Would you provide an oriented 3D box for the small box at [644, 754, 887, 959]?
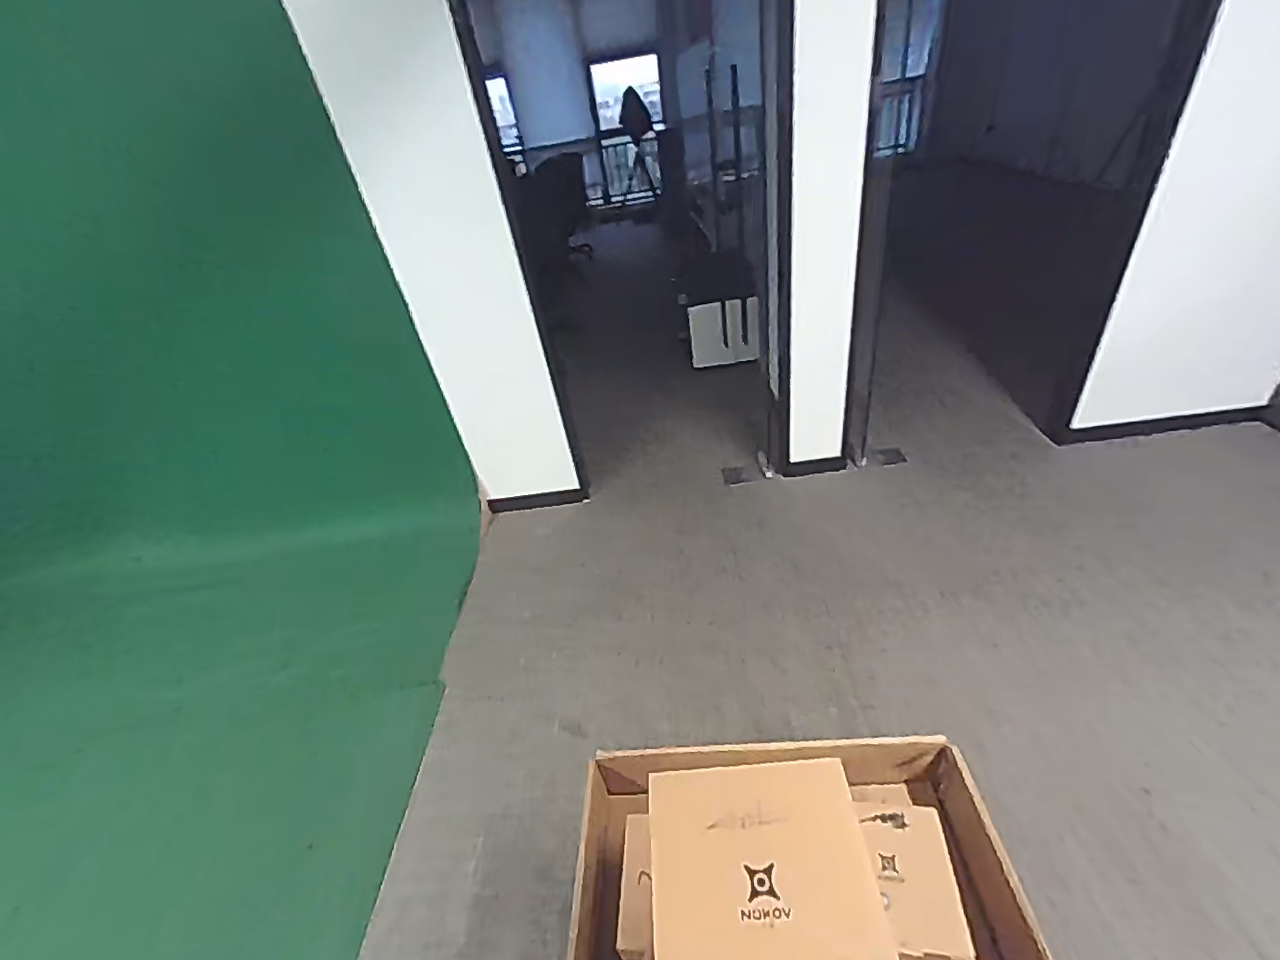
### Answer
[{"bbox_3d":[0.098,0.358,0.453,0.168,0.176,0.179,-8,40,5],"label":"small box"}]
